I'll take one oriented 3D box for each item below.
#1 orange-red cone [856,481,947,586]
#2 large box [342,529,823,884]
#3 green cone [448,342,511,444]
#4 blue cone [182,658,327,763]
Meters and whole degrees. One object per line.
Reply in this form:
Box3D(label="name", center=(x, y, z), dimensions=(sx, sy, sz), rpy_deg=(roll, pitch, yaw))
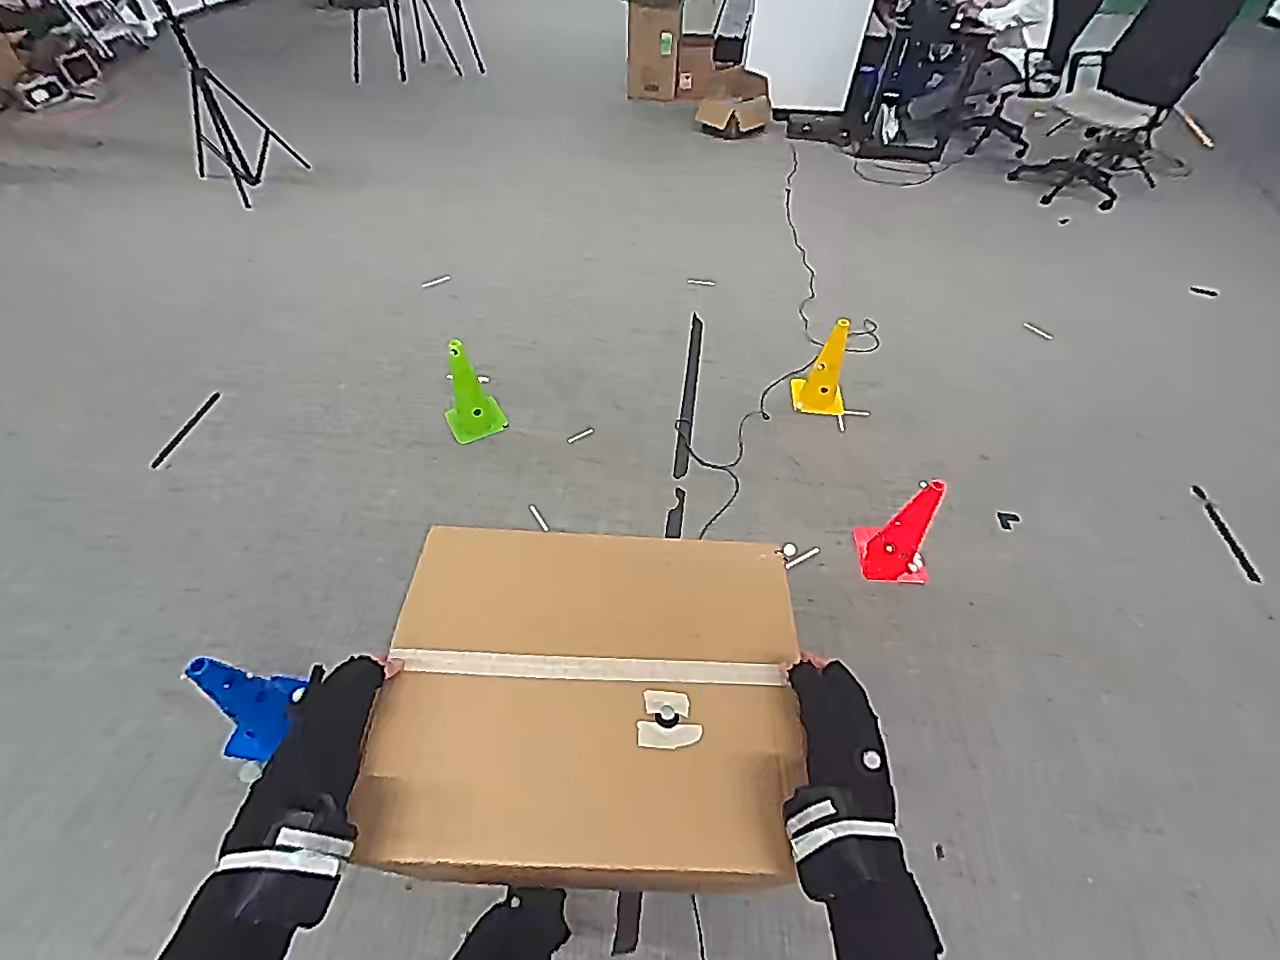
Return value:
Box3D(label="orange-red cone", center=(0.804, 0.131, 1.592), dimensions=(0.198, 0.360, 0.199), rpy_deg=(5, 49, 1))
Box3D(label="large box", center=(-0.053, 0.280, 0.648), dimensions=(0.408, 0.320, 0.320), rpy_deg=(4, 50, -2))
Box3D(label="green cone", center=(-0.617, -0.341, 1.943), dimensions=(0.202, 0.368, 0.200), rpy_deg=(-24, 54, -19))
Box3D(label="blue cone", center=(-0.913, 0.503, 1.250), dimensions=(0.192, 0.380, 0.193), rpy_deg=(8, 50, 7))
